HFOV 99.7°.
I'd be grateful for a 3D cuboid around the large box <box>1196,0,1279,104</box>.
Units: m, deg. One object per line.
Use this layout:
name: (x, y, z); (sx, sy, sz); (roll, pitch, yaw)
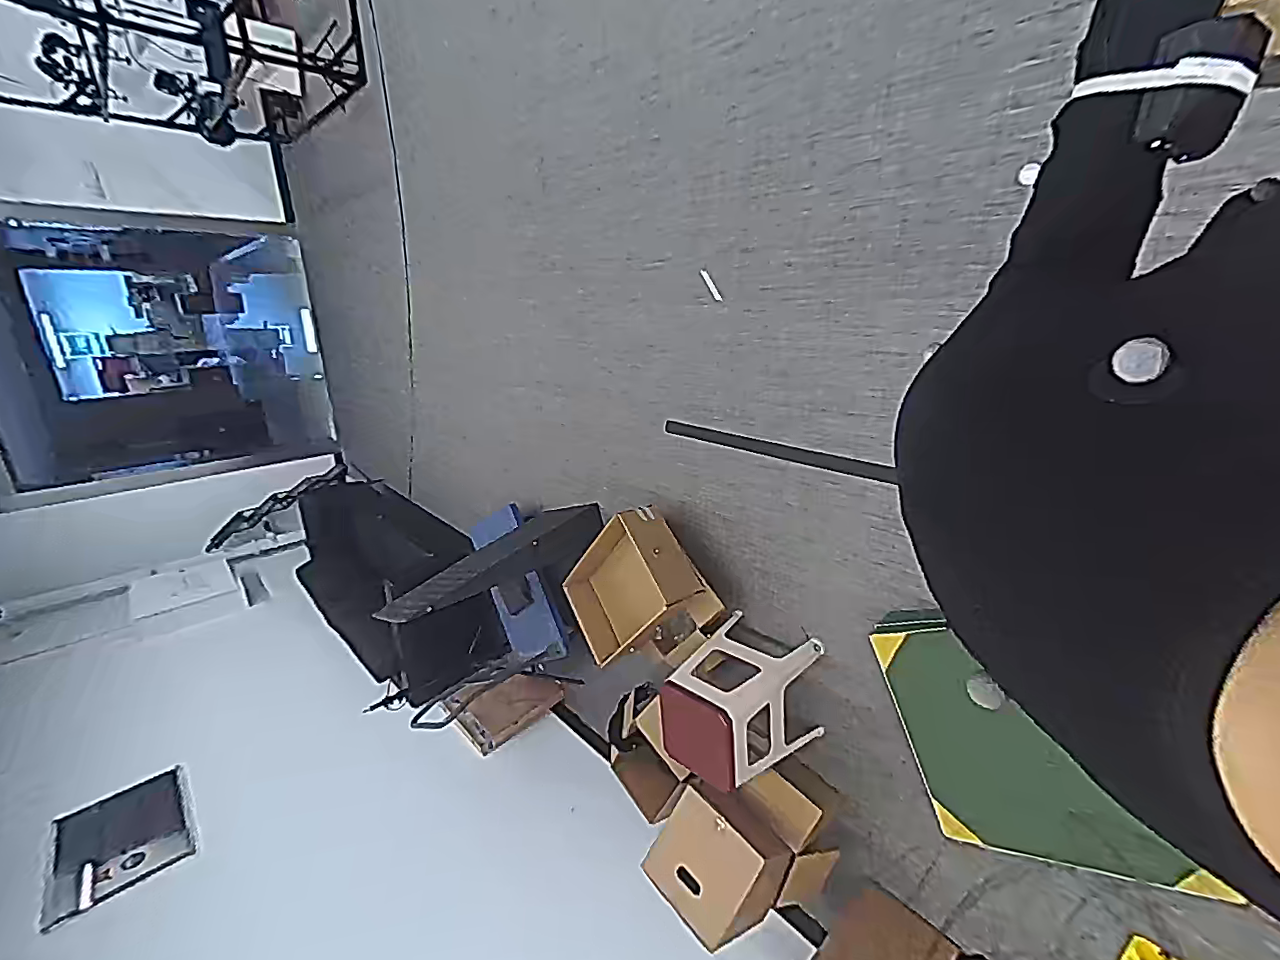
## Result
large box: (0.604, -0.401, 0.260); (0.408, 0.320, 0.320); (22, 129, 39)
